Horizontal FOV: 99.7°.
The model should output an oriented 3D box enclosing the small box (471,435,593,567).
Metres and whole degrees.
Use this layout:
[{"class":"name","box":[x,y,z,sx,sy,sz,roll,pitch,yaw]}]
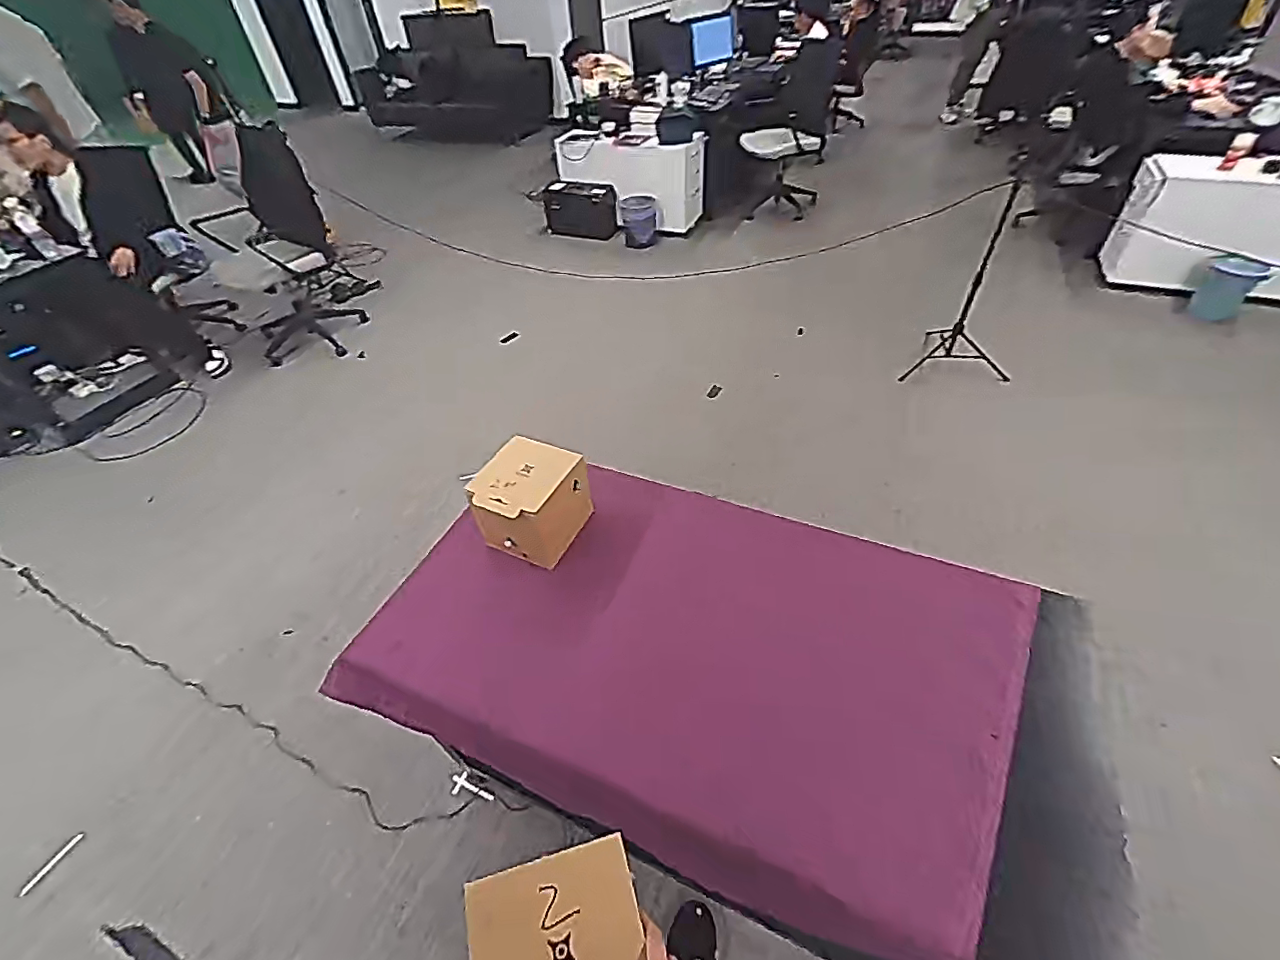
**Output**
[{"class":"small box","box":[-0.208,0.042,1.098,0.168,0.176,0.179,17,50,21]}]
